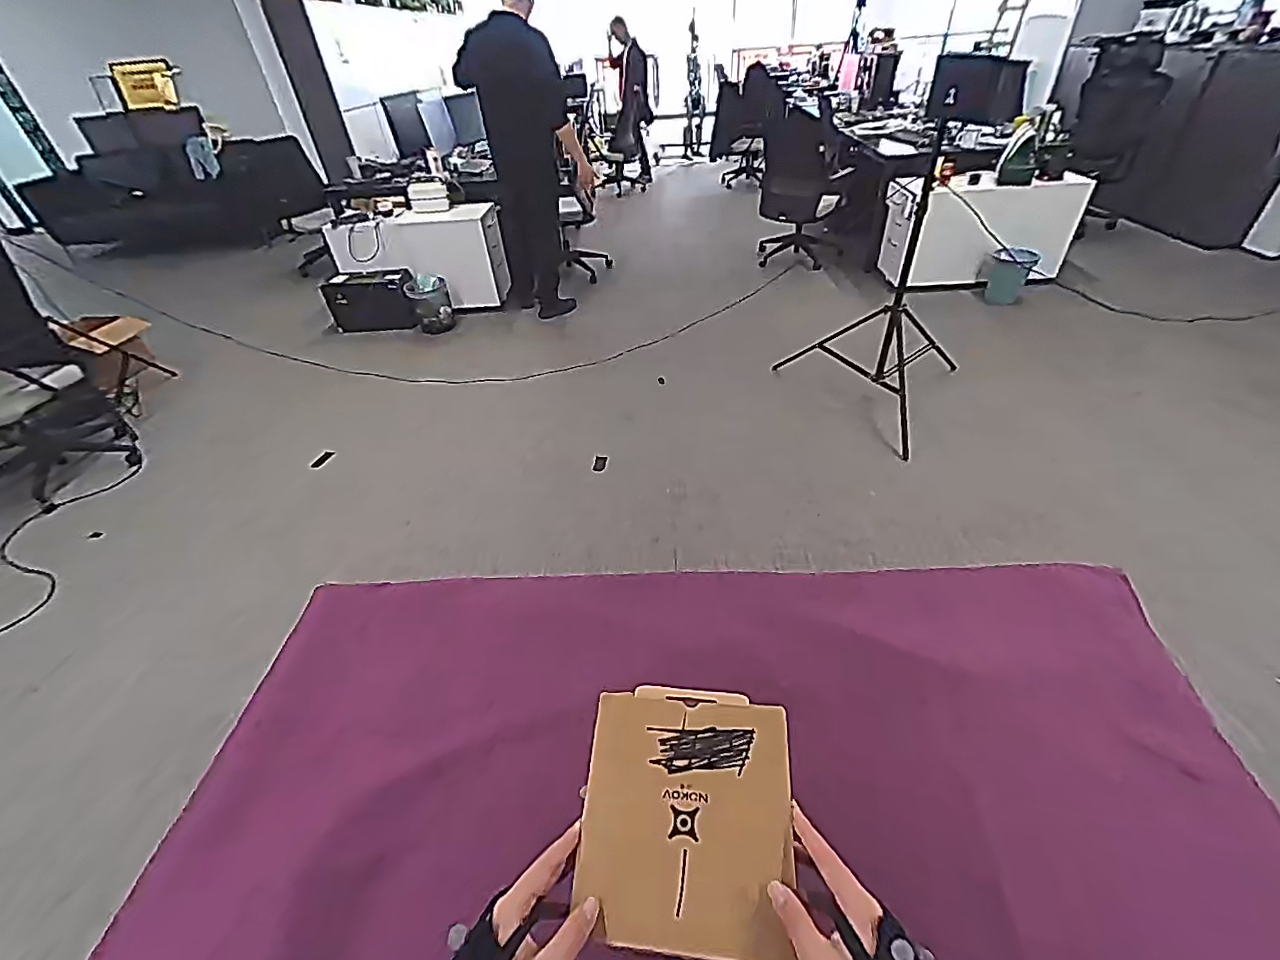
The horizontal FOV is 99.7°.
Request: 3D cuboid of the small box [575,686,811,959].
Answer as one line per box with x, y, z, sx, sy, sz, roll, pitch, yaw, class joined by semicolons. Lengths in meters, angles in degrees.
0.049;0.308;0.484;0.168;0.176;0.179;1;49;8;small box
